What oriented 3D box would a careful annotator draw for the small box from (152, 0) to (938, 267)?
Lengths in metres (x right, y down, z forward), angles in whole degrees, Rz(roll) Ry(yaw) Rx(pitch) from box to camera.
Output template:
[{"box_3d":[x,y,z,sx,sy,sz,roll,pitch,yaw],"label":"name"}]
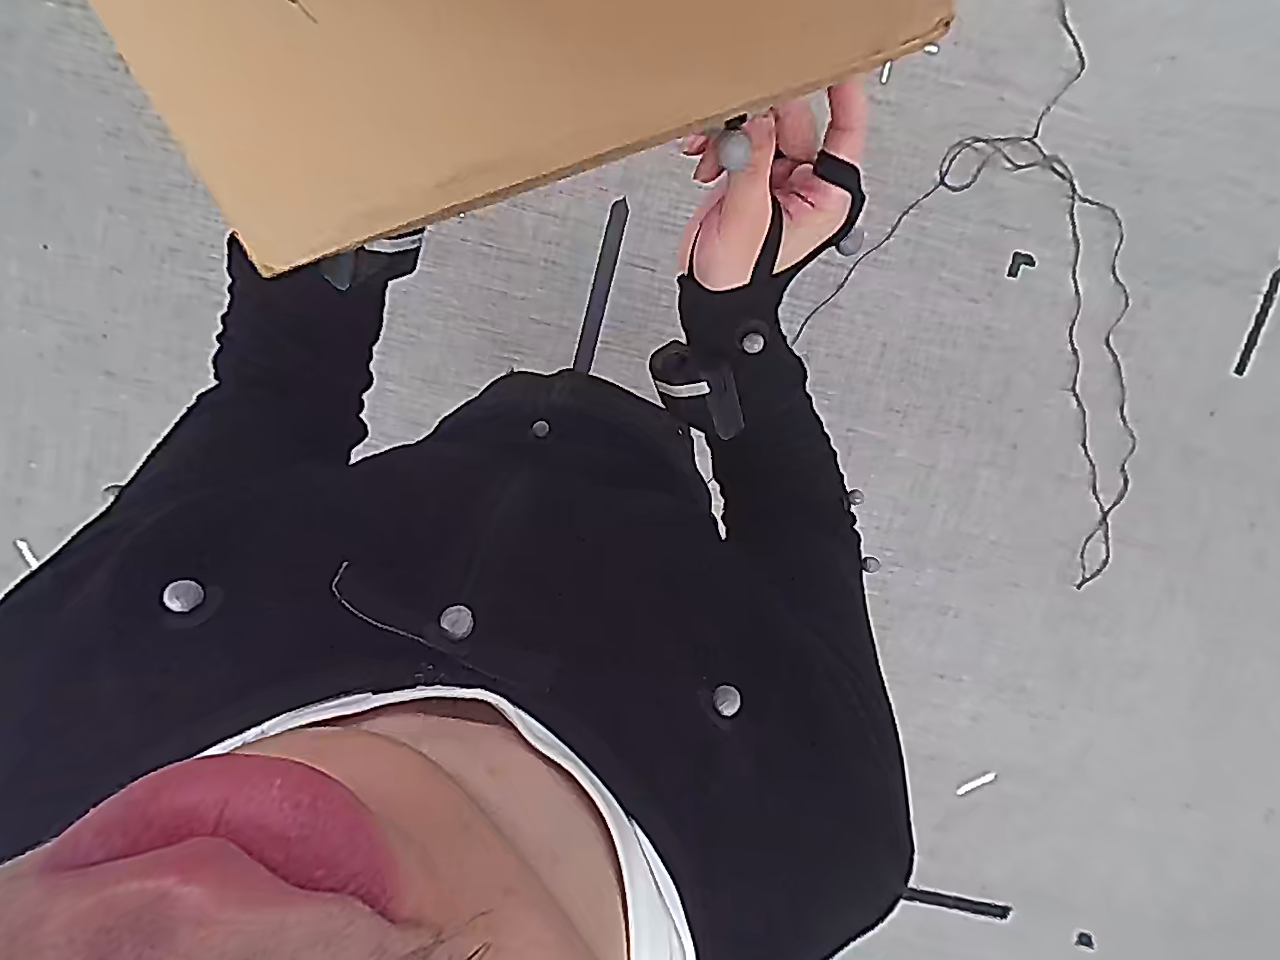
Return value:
[{"box_3d":[-0.031,-0.188,0.168,0.179,0.176,0.168,-12,119,15],"label":"small box"}]
